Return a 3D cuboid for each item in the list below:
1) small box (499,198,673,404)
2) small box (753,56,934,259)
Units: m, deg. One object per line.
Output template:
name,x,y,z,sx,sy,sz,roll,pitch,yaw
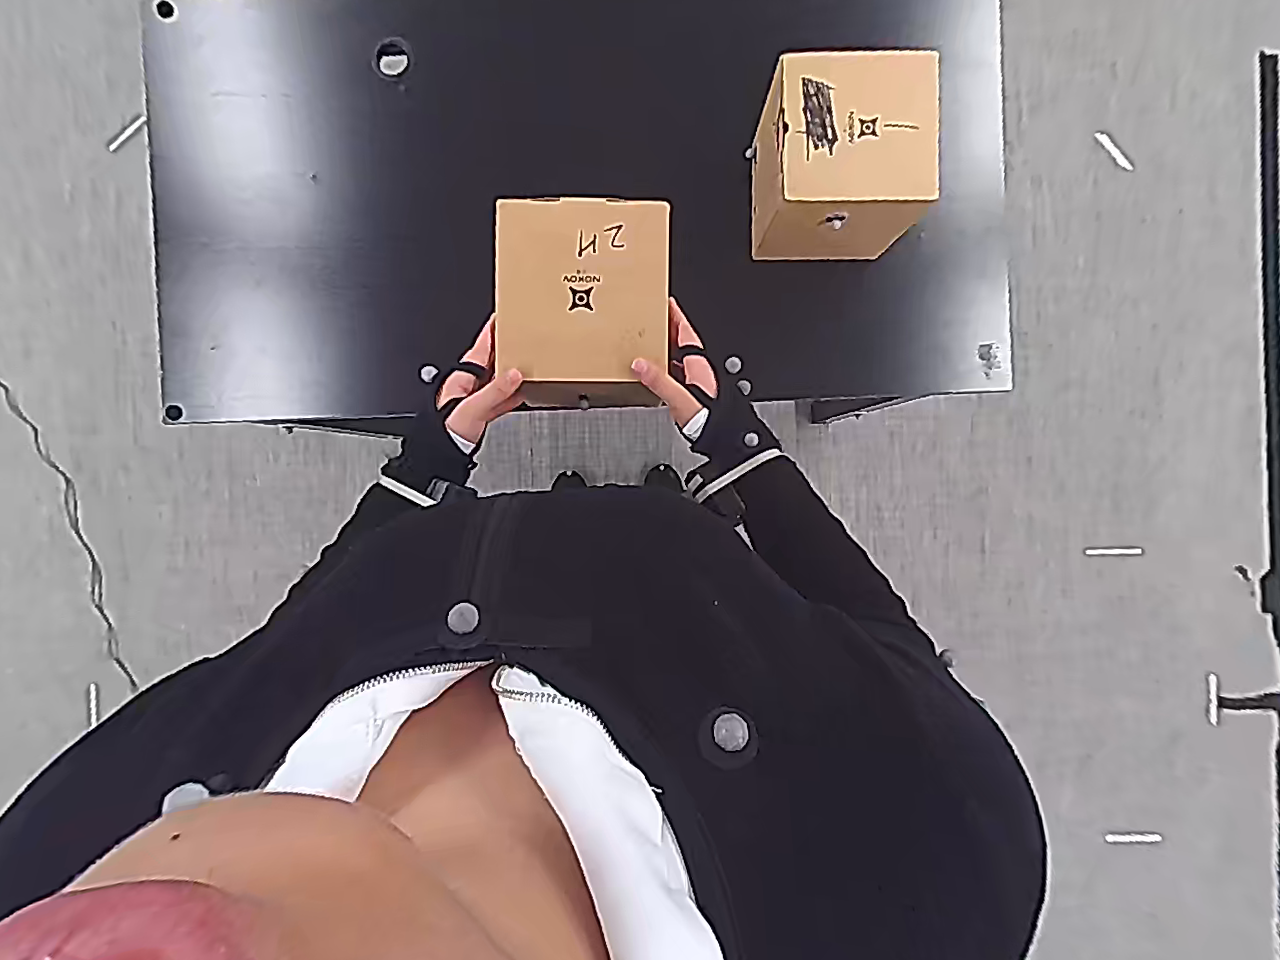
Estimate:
small box,-0.053,-0.182,0.601,0.168,0.176,0.179,1,88,-2
small box,0.245,-0.395,0.690,0.179,0.176,0.168,0,91,0
